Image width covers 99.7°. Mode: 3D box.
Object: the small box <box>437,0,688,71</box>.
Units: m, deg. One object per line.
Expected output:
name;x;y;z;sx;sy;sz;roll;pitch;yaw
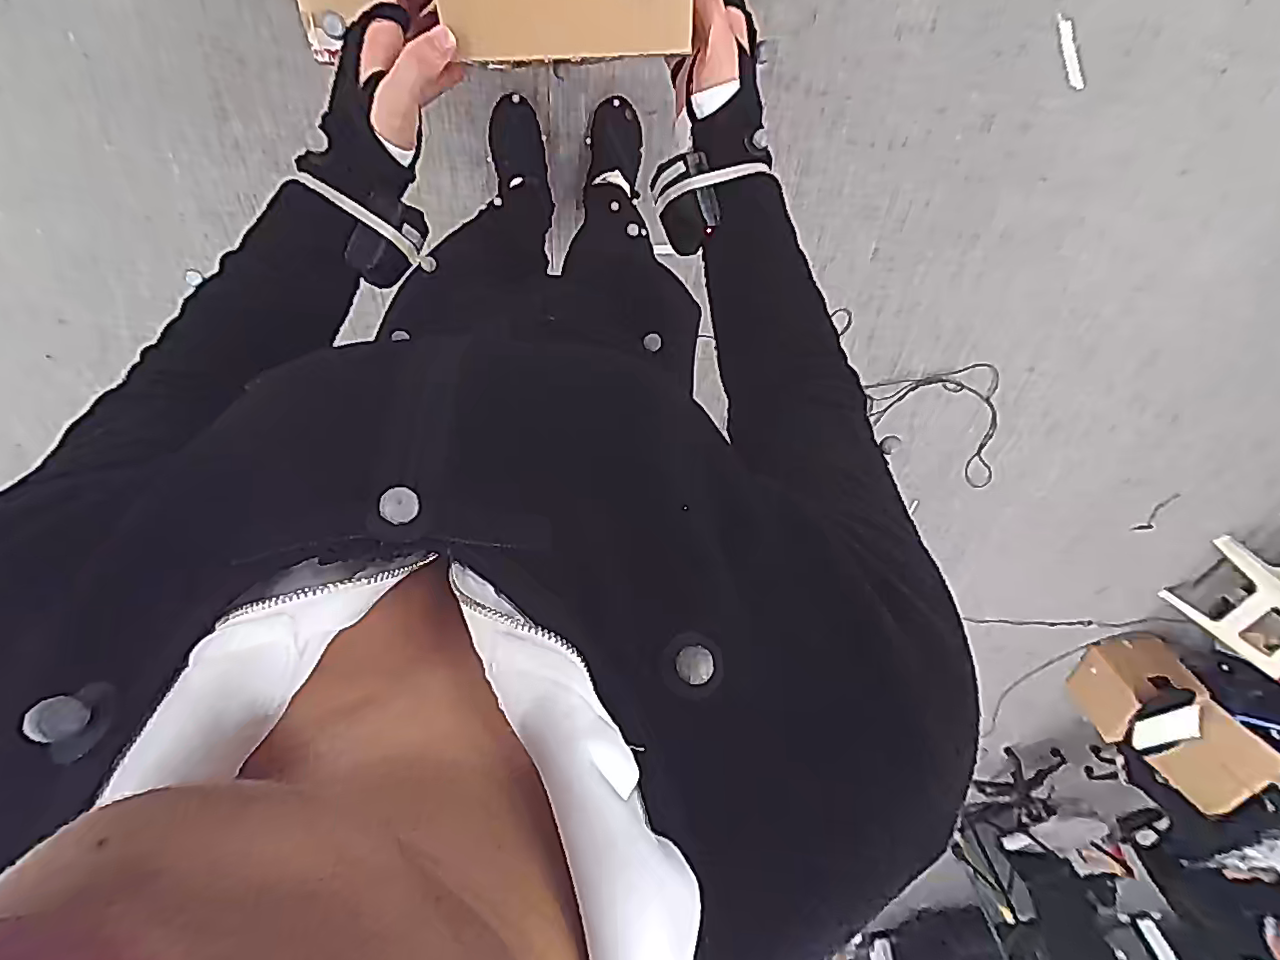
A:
small box;-0.060;-0.402;0.376;0.168;0.176;0.179;-7;130;-6
